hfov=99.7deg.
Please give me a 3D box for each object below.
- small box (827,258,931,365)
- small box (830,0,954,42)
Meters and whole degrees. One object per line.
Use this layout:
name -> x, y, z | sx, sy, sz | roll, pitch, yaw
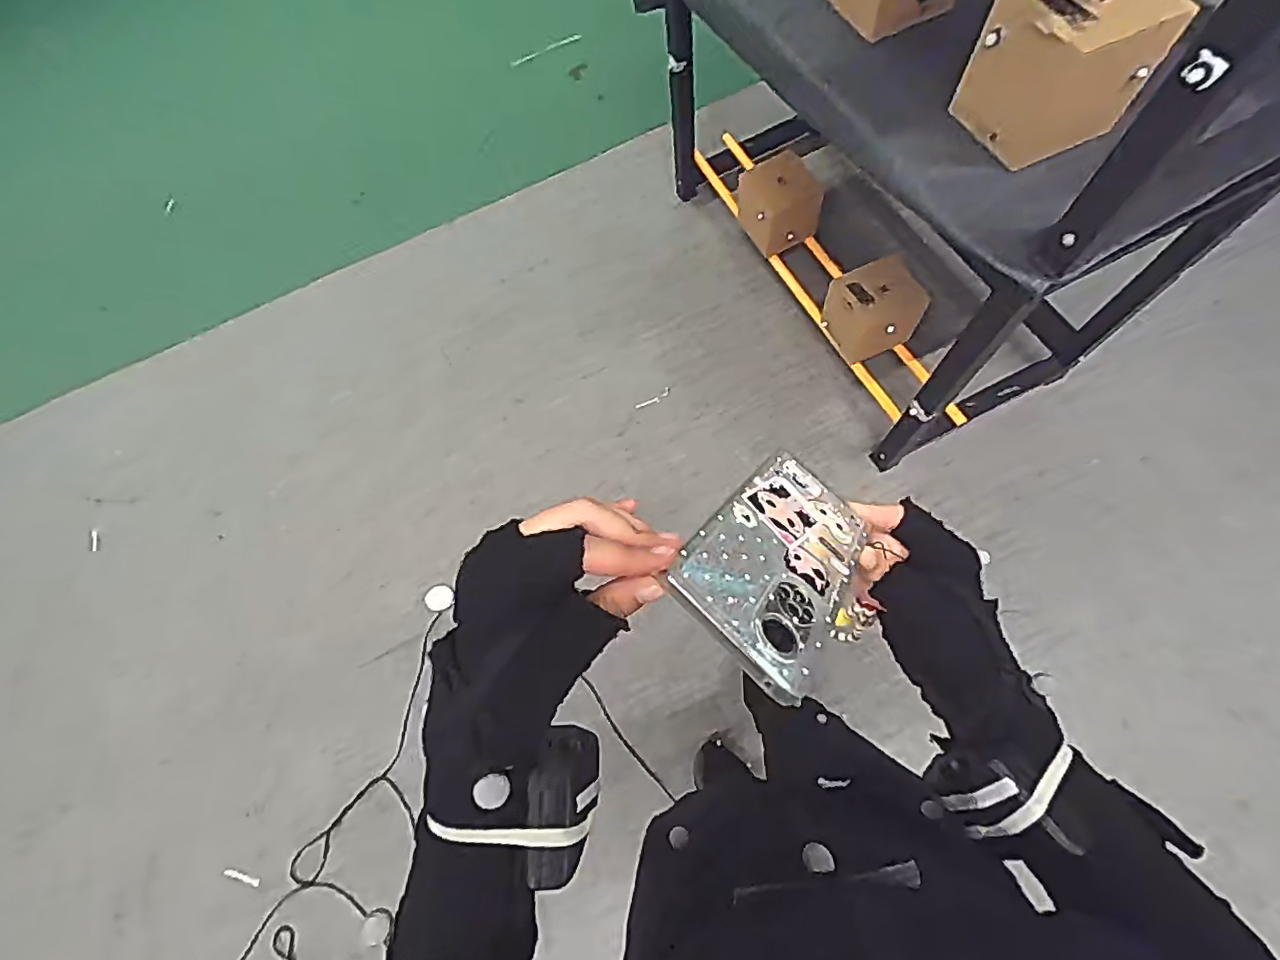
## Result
small box -> 0.599, -0.425, 1.388 | 0.179, 0.176, 0.168 | -24, 68, -2
small box -> 0.442, -0.902, 0.920 | 0.168, 0.176, 0.179 | -24, 68, -2
